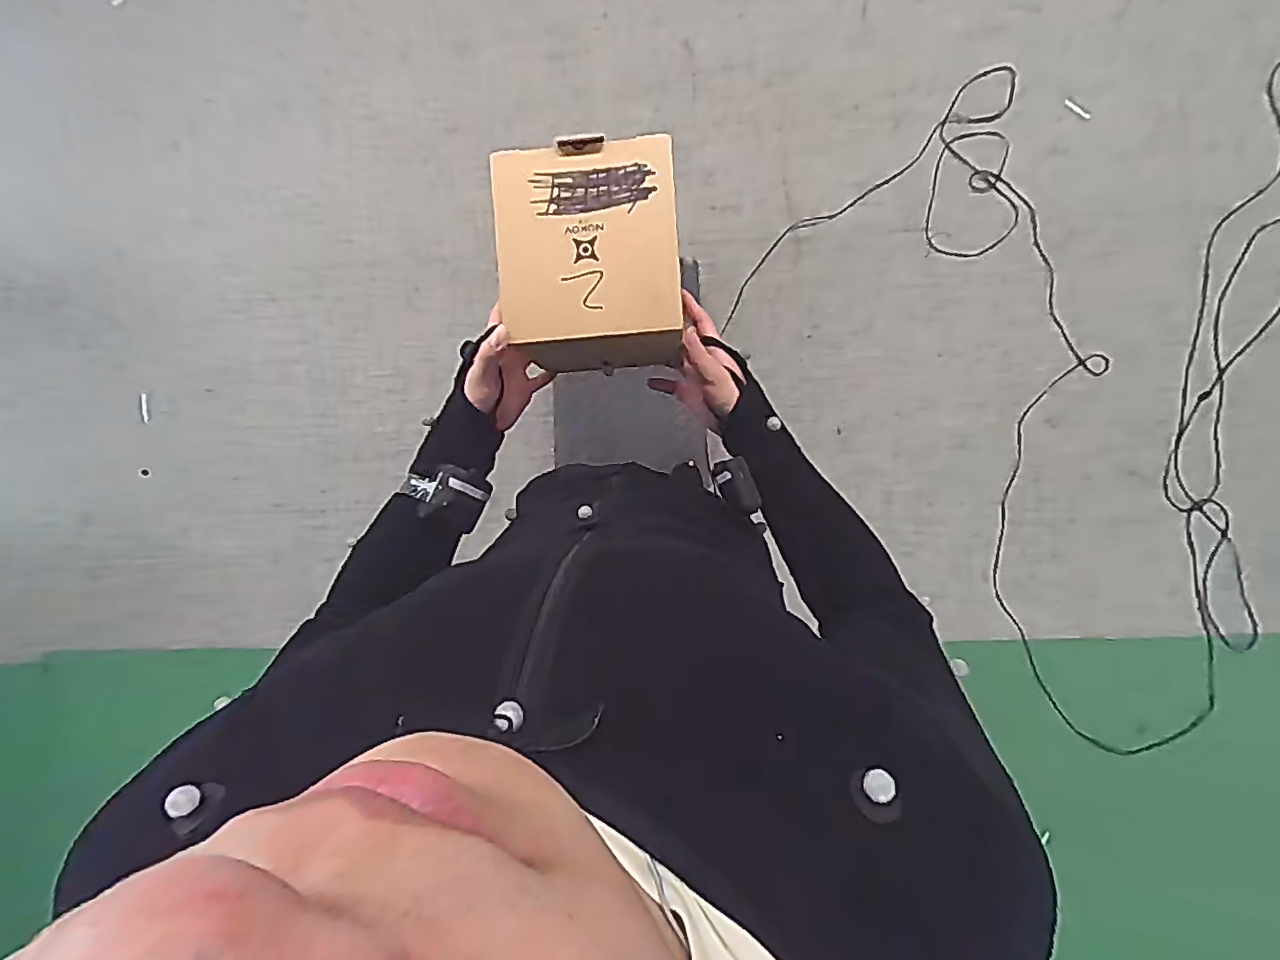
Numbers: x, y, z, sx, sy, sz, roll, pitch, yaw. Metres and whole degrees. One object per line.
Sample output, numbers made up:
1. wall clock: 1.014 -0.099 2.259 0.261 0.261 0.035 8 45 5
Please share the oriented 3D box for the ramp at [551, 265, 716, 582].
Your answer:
1. ramp: -0.036 -0.192 1.708 0.509 0.206 0.991 -5 92 5
